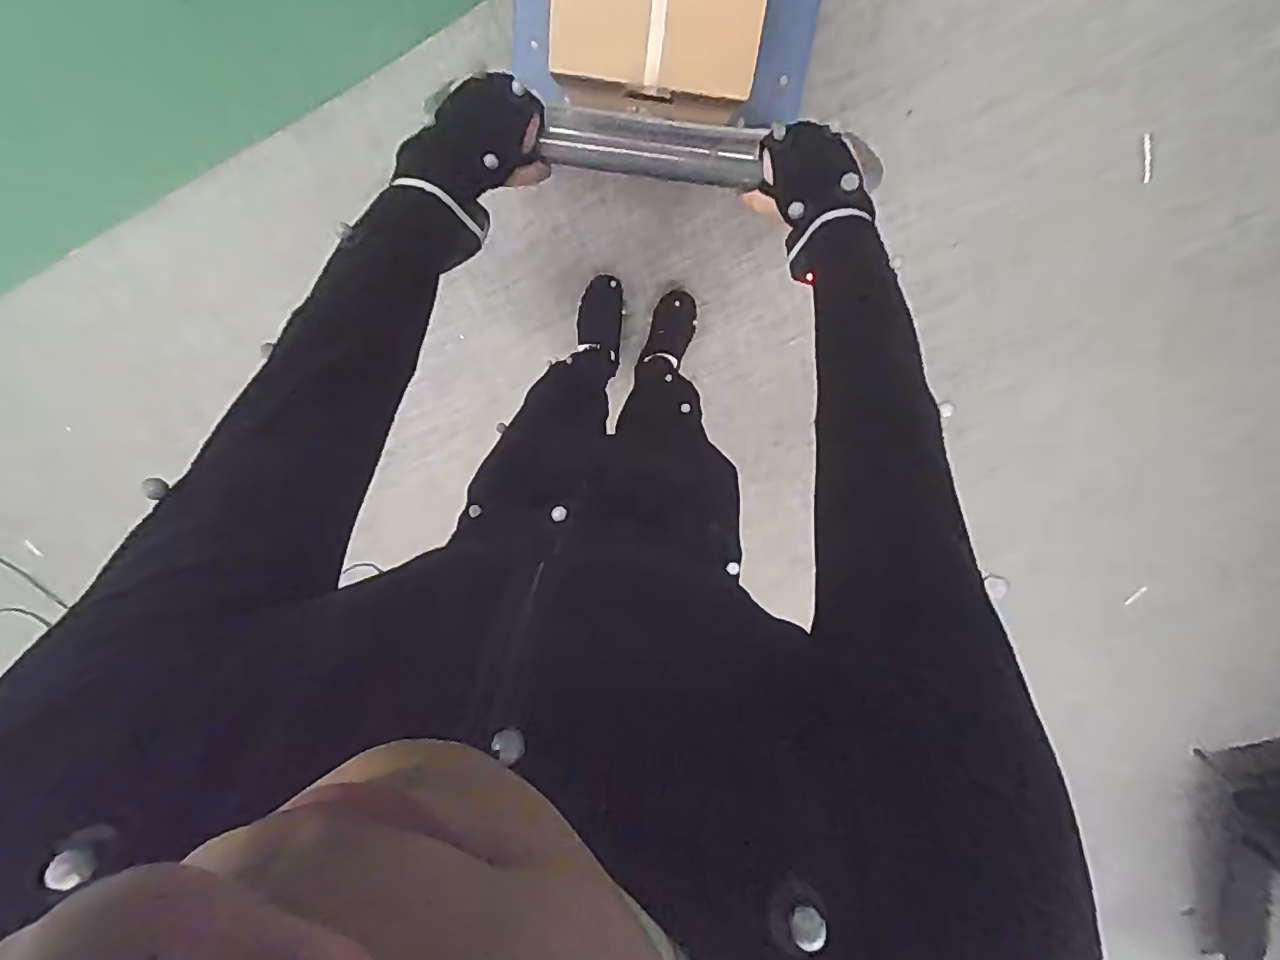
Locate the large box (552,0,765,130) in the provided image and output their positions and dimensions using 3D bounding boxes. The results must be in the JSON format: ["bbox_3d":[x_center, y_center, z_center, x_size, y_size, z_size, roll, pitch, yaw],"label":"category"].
[{"bbox_3d":[0.043,-0.849,0.895,0.320,0.320,0.408,7,116,-3],"label":"large box"}]
